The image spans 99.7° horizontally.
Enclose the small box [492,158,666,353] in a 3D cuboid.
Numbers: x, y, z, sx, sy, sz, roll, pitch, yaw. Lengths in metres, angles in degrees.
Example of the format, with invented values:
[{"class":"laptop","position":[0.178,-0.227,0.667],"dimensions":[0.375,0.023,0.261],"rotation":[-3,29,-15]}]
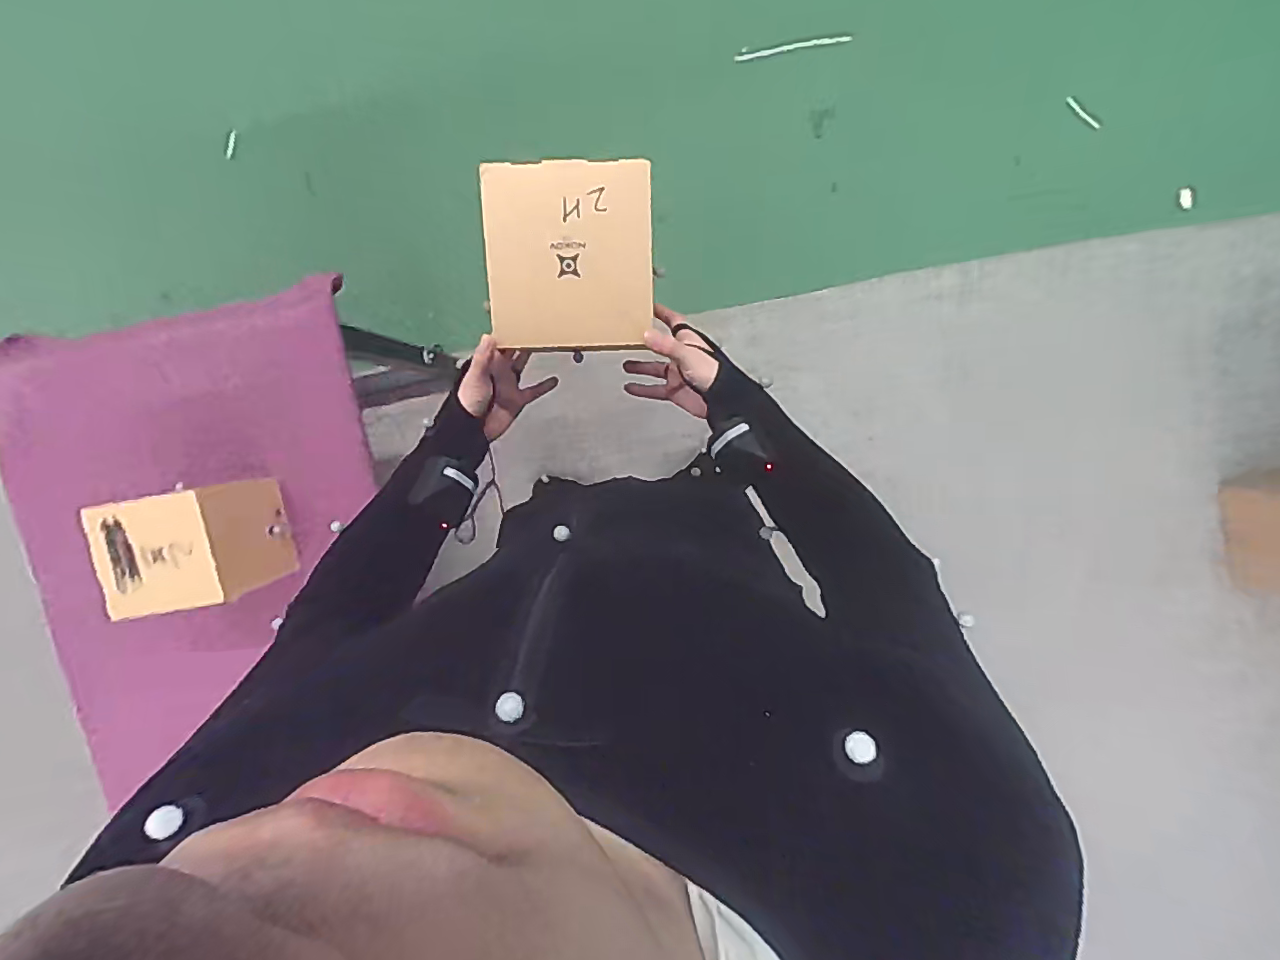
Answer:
[{"class":"small box","position":[-0.058,-0.233,0.601],"dimensions":[0.168,0.176,0.179],"rotation":[0,102,-1]}]
